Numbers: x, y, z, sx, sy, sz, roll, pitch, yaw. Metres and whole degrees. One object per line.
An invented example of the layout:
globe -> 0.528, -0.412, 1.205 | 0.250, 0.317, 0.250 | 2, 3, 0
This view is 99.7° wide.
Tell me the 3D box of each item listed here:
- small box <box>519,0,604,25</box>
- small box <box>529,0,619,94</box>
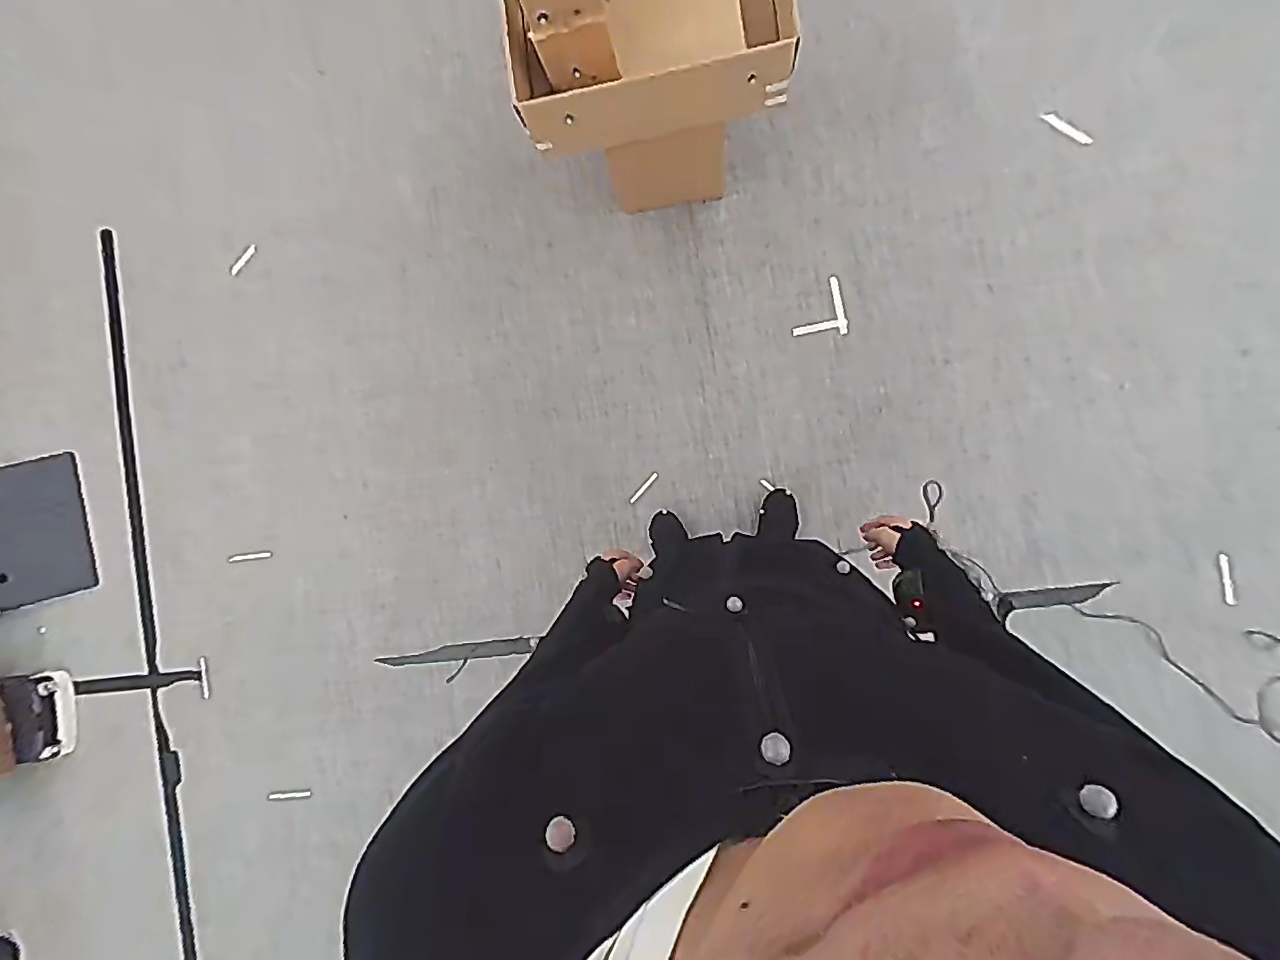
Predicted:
small box -> -0.173, -1.036, 1.047 | 0.168, 0.176, 0.179 | -9, 87, 8
small box -> -0.150, -1.020, 1.209 | 0.168, 0.176, 0.179 | -9, 88, 9
